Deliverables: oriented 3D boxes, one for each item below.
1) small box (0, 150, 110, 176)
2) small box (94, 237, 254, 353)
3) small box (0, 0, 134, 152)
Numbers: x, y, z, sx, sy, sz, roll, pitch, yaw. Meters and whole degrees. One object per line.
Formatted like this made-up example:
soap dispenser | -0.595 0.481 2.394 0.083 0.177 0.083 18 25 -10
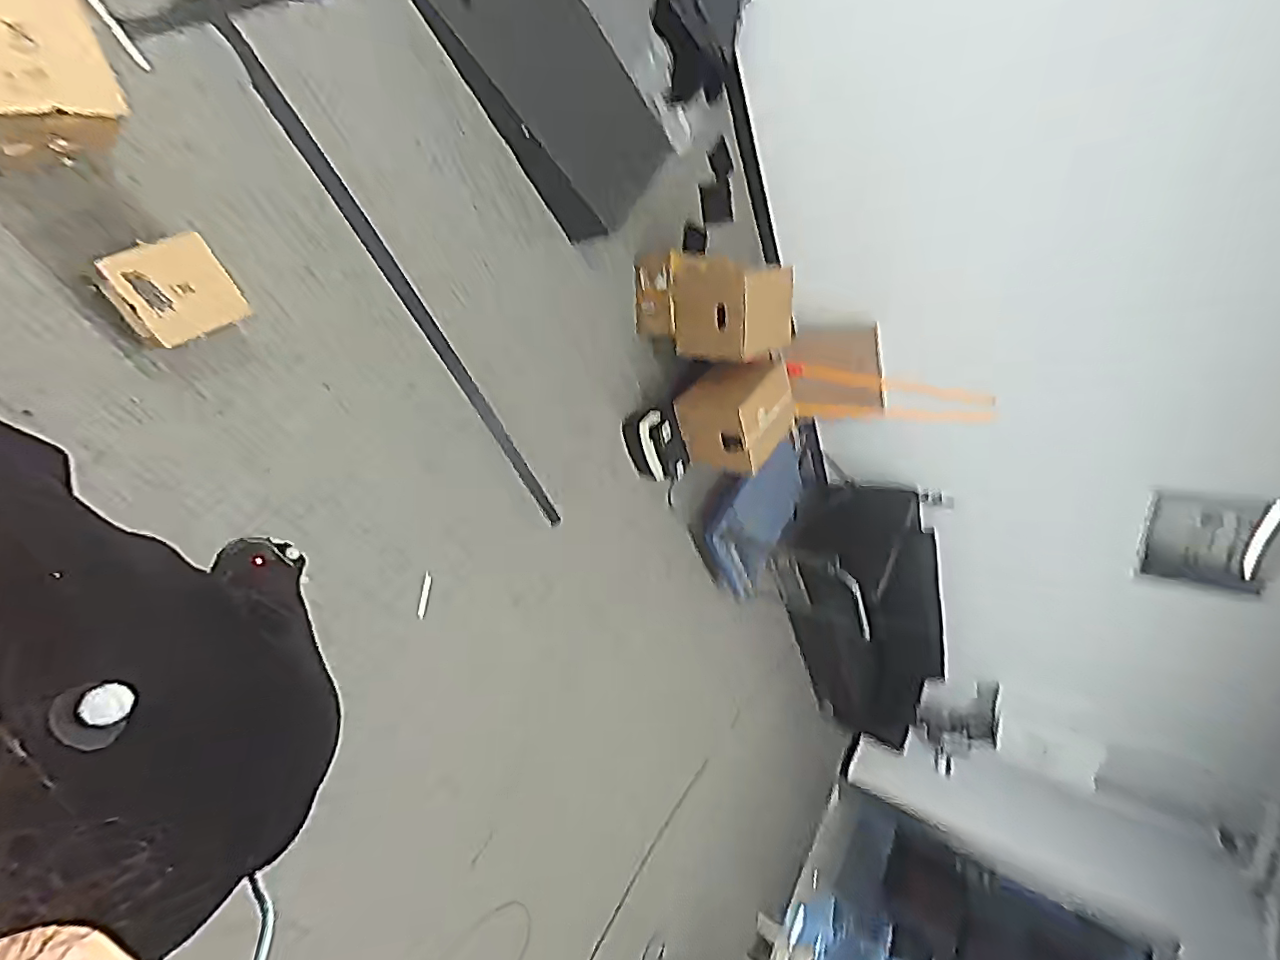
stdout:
small box | -1.026 -0.623 0.895 0.168 0.176 0.179 -46 131 -34
small box | -0.928 -0.363 1.076 0.179 0.176 0.168 -46 131 -35
small box | -0.899 -0.602 0.791 0.168 0.176 0.179 -33 122 -41
